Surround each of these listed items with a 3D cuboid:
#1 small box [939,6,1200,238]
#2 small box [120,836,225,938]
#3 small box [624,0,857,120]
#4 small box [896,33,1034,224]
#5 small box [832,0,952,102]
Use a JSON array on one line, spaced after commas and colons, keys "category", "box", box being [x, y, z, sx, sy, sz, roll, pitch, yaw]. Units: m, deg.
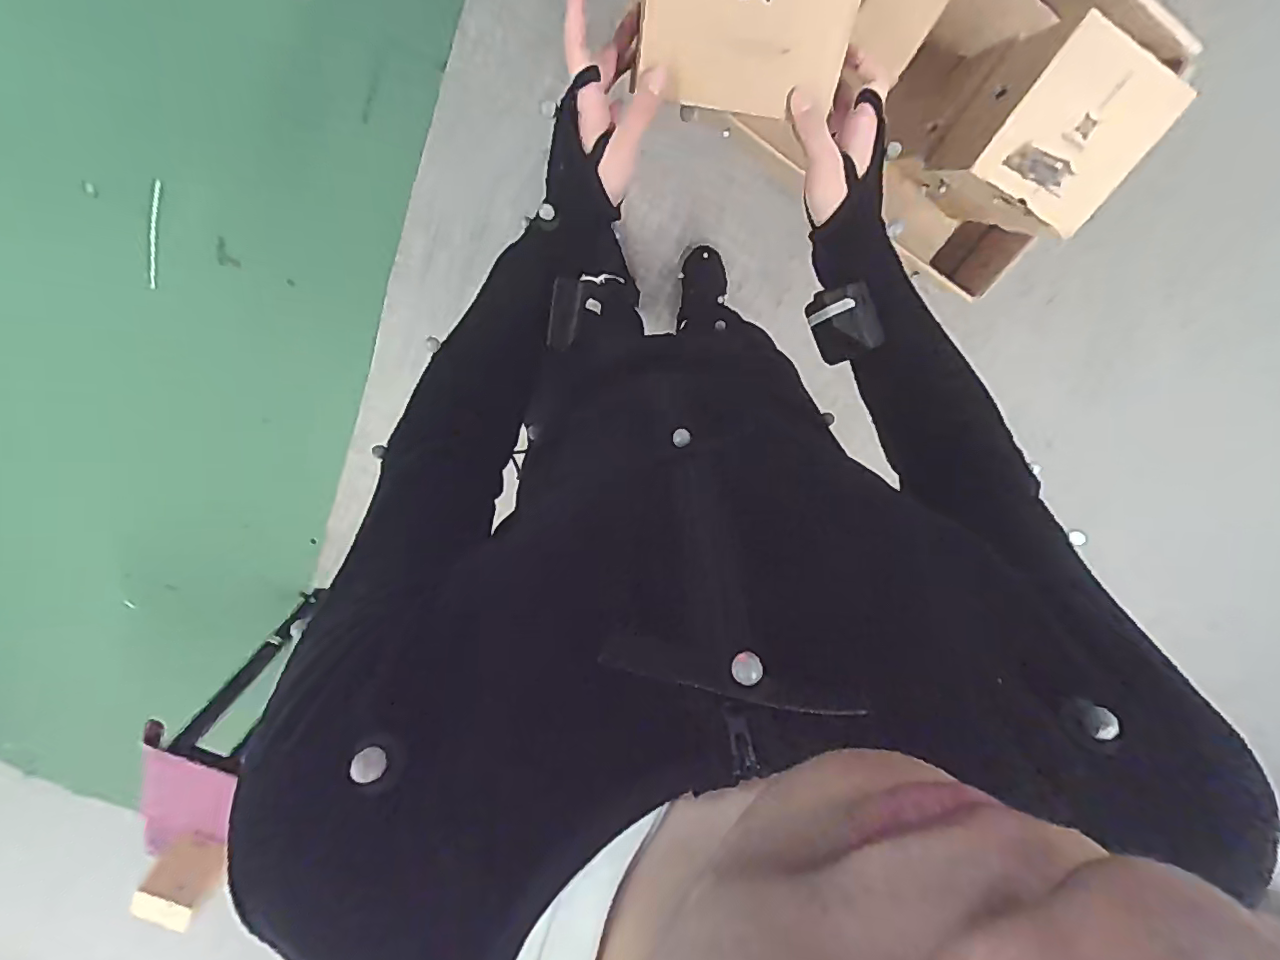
[{"category": "small box", "box": [0.525, -0.444, 0.699, 0.168, 0.176, 0.179, 28, 118, -9]}, {"category": "small box", "box": [-1.382, 1.207, 1.606, 0.168, 0.176, 0.179, 28, 117, -10]}, {"category": "small box", "box": [0.078, -0.424, 0.457, 0.168, 0.176, 0.179, 3, 127, -7]}, {"category": "small box", "box": [0.537, -0.531, 0.839, 0.168, 0.176, 0.179, 32, 118, -12]}, {"category": "small box", "box": [0.276, -0.595, 0.643, 0.168, 0.176, 0.179, 29, 117, -9]}]
